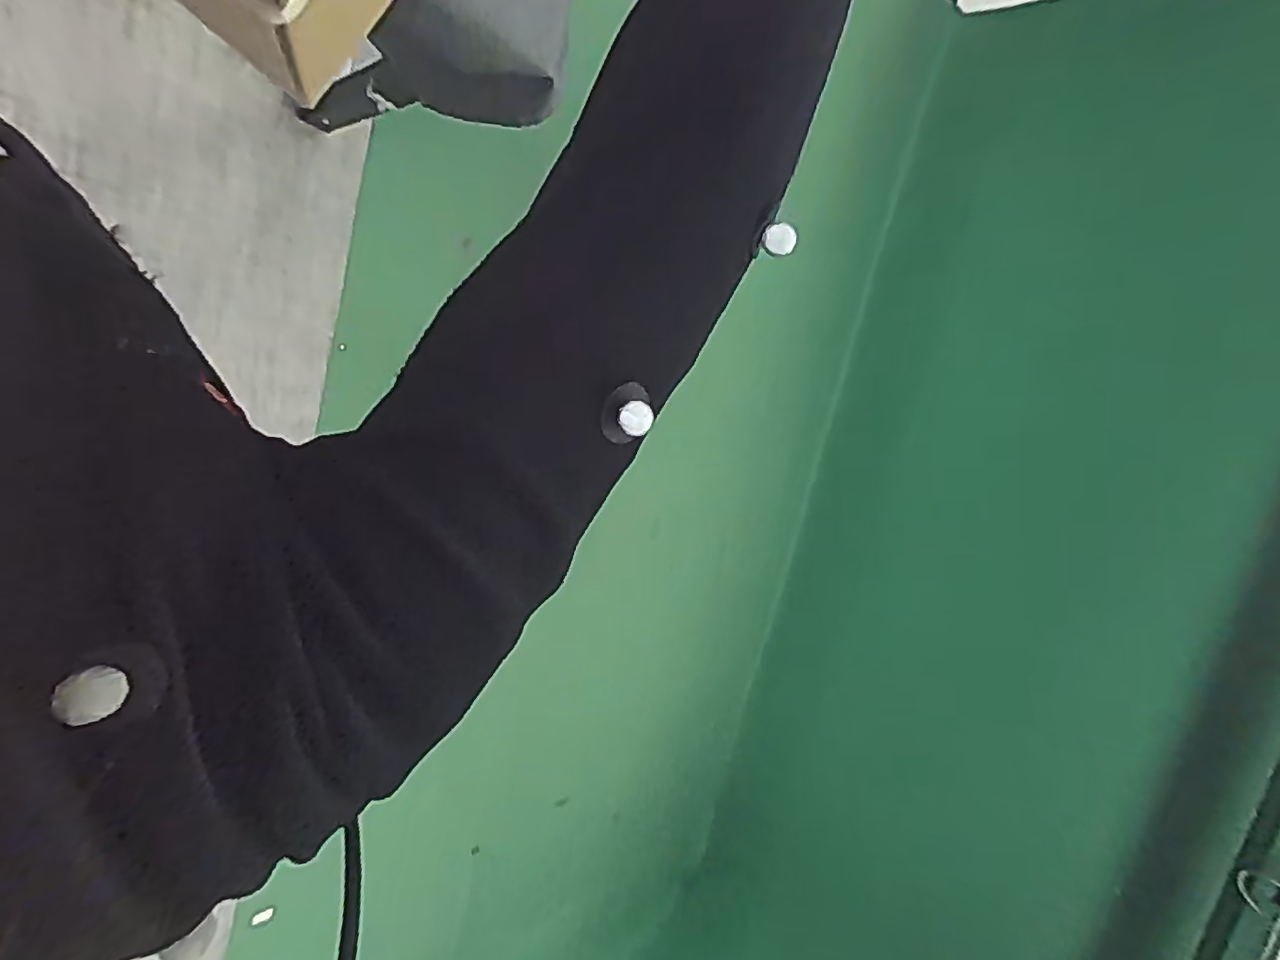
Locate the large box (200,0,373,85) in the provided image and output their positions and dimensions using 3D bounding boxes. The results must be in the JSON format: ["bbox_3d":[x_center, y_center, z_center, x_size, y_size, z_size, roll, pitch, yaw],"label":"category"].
[{"bbox_3d":[-0.223,-0.442,0.155,0.408,0.320,0.320,33,90,-33],"label":"large box"}]
